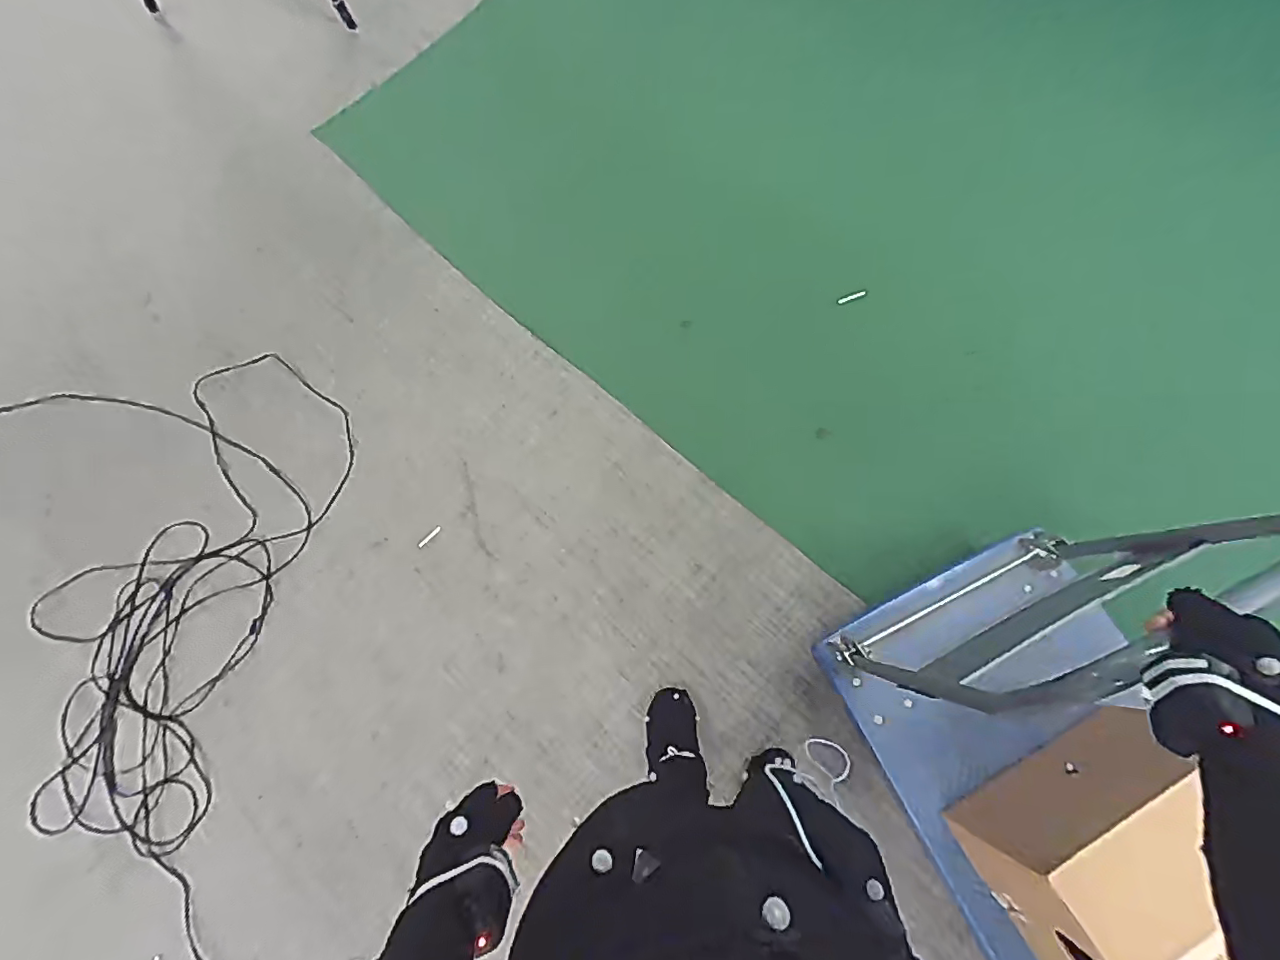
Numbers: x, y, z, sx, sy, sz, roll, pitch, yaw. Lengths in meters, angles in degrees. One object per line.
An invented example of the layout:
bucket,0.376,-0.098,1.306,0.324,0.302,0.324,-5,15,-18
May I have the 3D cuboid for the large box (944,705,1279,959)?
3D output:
large box,0.807,0.617,0.867,0.408,0.320,0.320,-30,74,-7
